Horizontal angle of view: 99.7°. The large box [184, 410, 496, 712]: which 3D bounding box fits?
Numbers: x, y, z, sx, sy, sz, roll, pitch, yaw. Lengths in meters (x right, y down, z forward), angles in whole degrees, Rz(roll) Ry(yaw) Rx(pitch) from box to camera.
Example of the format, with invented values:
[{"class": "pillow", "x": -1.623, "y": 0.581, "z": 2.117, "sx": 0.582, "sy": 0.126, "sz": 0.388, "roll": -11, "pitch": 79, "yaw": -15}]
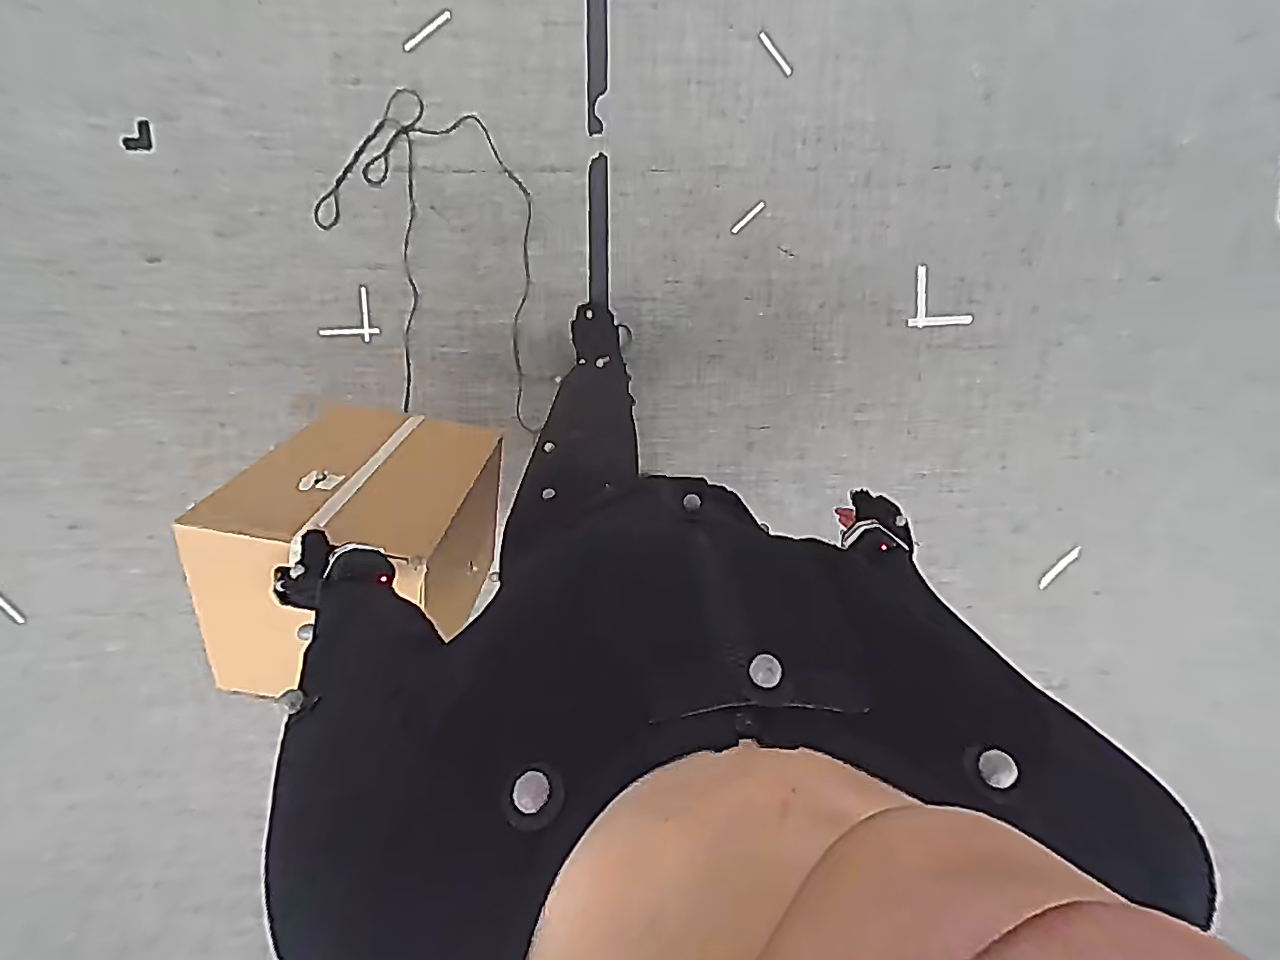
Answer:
[{"class": "large box", "x": -0.456, "y": 0.117, "z": 0.938, "sx": 0.320, "sy": 0.408, "sz": 0.320, "roll": 9, "pitch": 119, "yaw": -3}]
